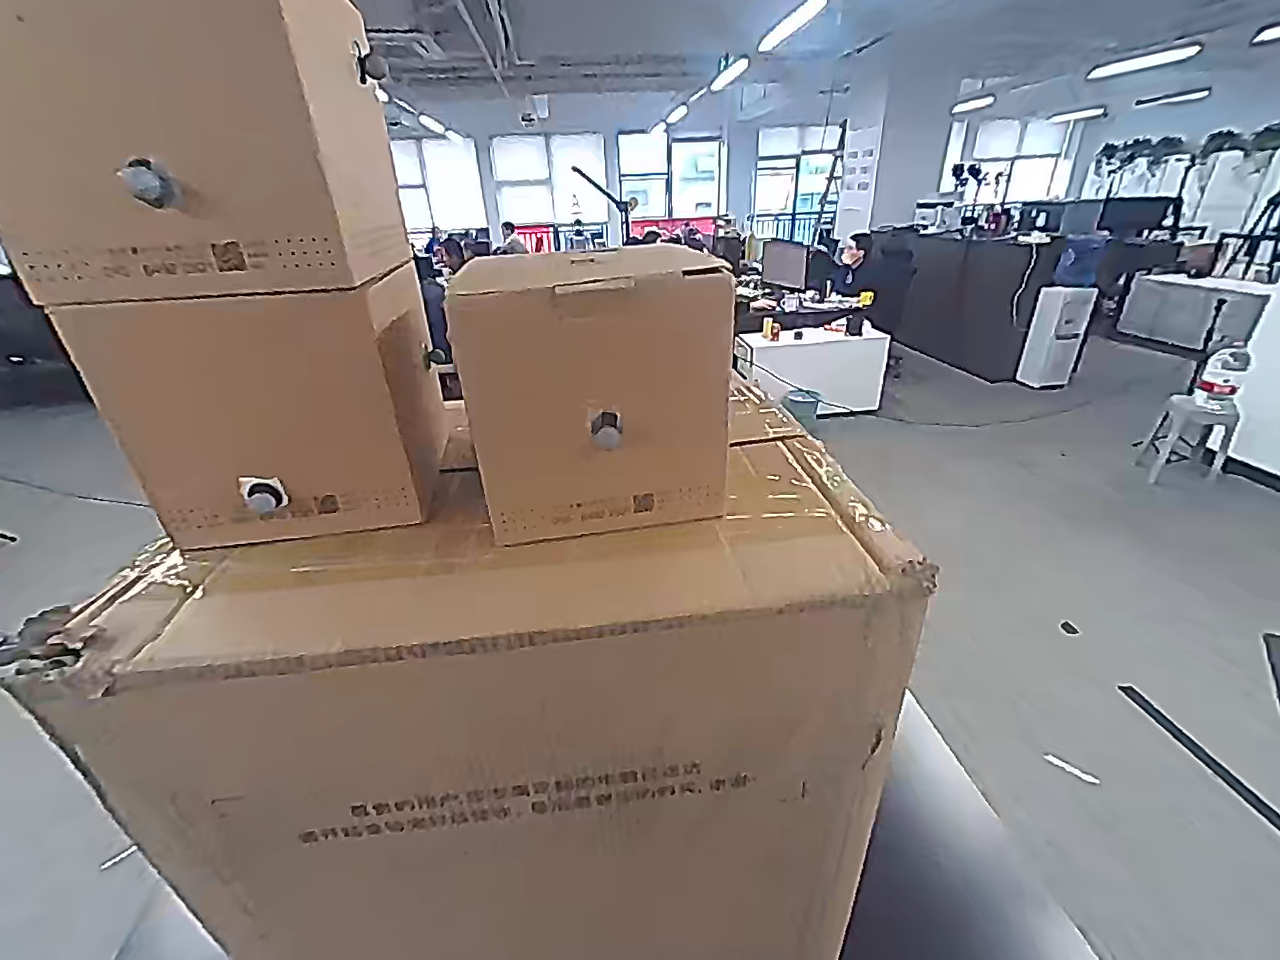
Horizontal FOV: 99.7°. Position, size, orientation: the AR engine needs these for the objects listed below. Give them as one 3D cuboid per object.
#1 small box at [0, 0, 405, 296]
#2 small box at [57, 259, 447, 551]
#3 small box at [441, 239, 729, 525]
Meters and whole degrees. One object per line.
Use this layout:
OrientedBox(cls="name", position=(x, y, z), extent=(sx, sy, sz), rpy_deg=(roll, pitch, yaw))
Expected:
OrientedBox(cls="small box", position=(-0.261, -0.213, 0.336), extent=(0.168, 0.176, 0.179), rpy_deg=(-7, 28, -8))
OrientedBox(cls="small box", position=(-0.253, -0.068, 0.415), extent=(0.168, 0.176, 0.179), rpy_deg=(-8, 30, -10))
OrientedBox(cls="small box", position=(-0.037, -0.077, 0.409), extent=(0.168, 0.176, 0.179), rpy_deg=(-6, 30, -7))
